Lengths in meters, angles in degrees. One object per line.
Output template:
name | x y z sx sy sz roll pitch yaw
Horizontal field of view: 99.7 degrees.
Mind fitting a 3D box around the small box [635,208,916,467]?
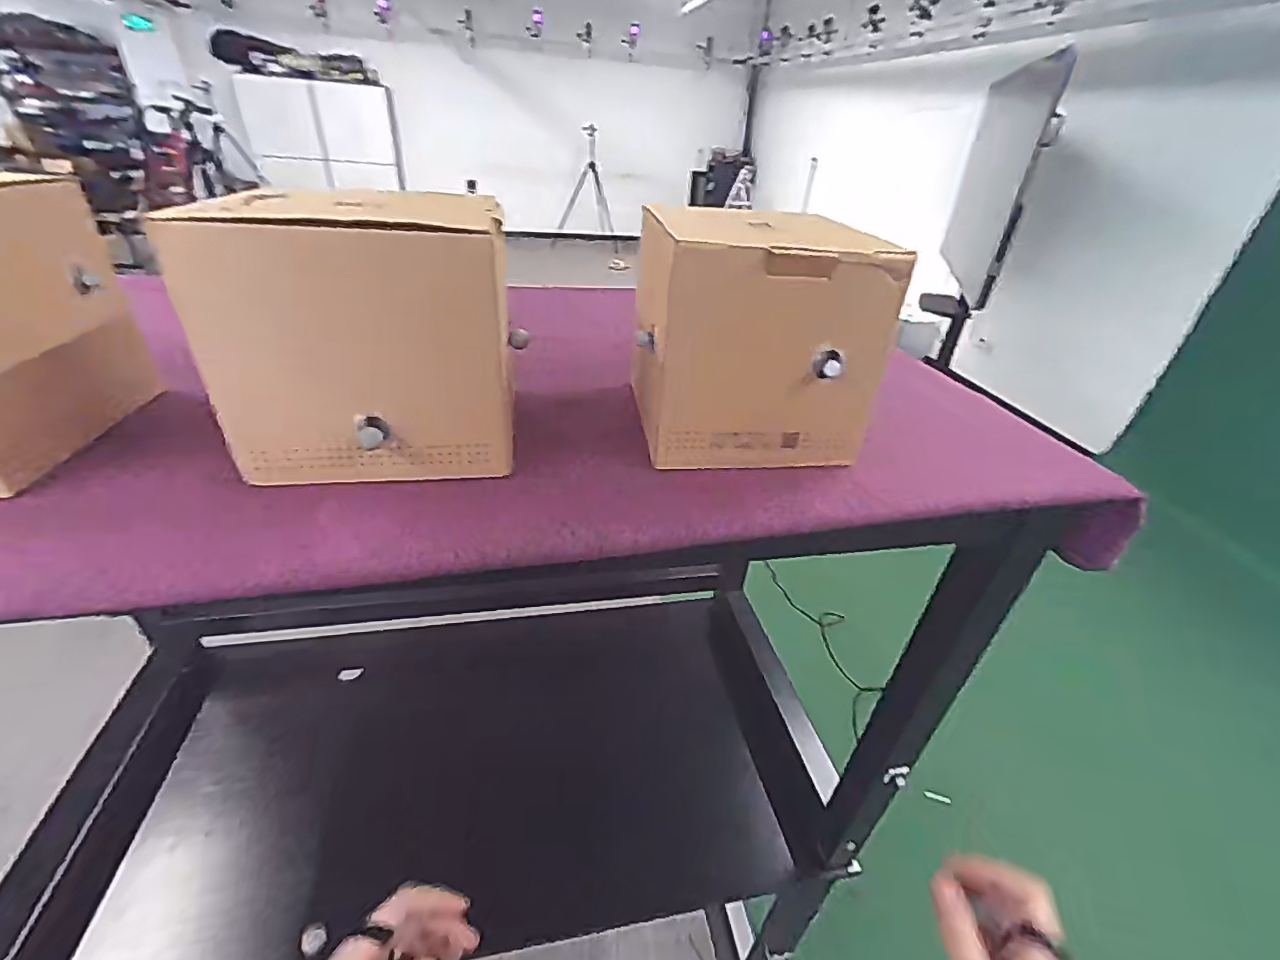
small box | 0.088 -0.121 0.452 0.168 0.176 0.179 0 33 -8

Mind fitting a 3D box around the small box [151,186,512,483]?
small box | -0.187 -0.109 0.399 0.179 0.176 0.168 -2 32 -12
